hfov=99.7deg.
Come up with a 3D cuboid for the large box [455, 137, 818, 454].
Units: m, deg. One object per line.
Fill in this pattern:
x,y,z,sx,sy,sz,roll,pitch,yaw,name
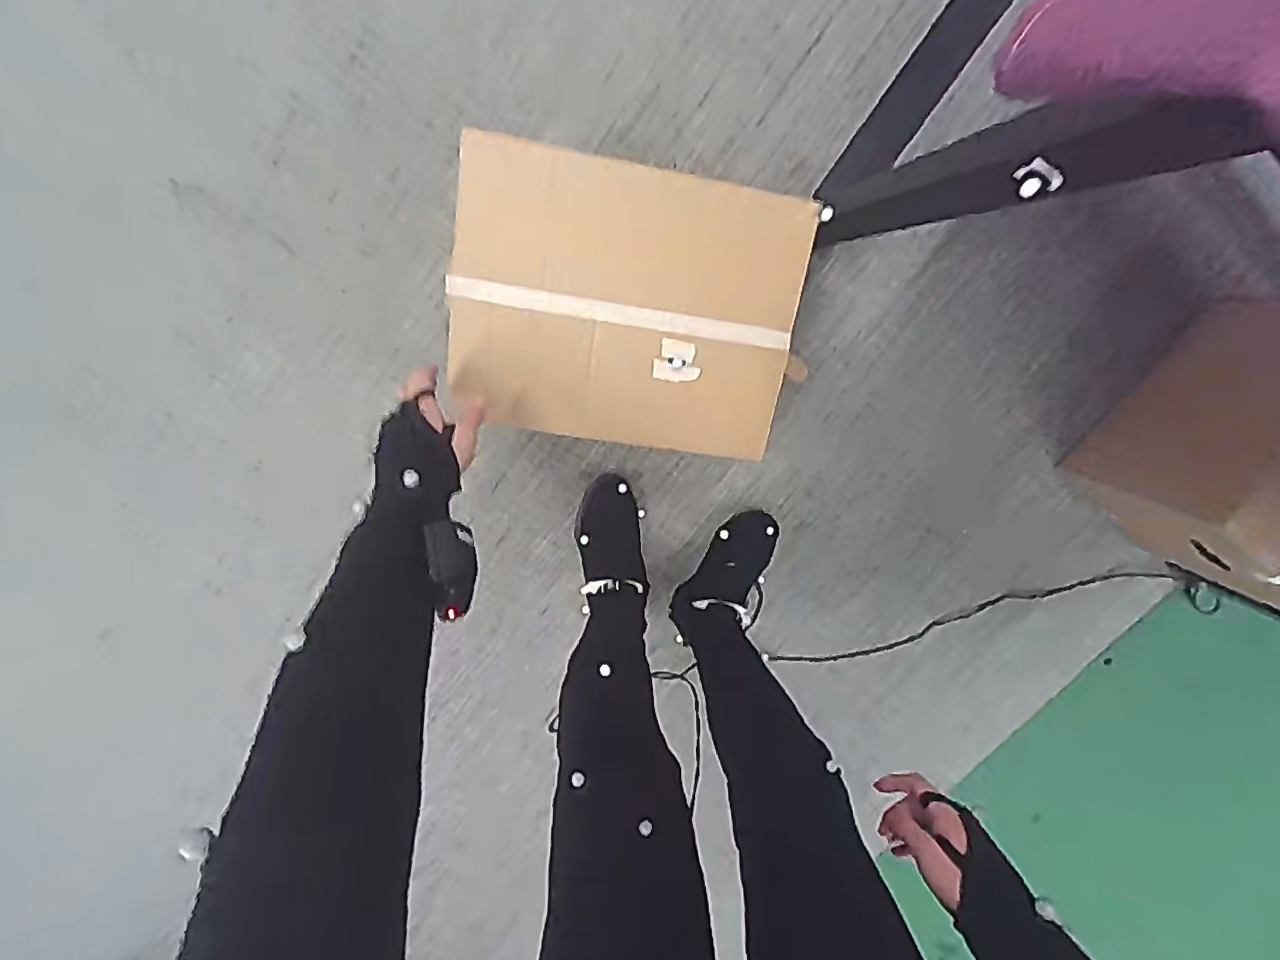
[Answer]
-0.027,-0.242,0.779,0.408,0.320,0.320,7,107,-9,large box
